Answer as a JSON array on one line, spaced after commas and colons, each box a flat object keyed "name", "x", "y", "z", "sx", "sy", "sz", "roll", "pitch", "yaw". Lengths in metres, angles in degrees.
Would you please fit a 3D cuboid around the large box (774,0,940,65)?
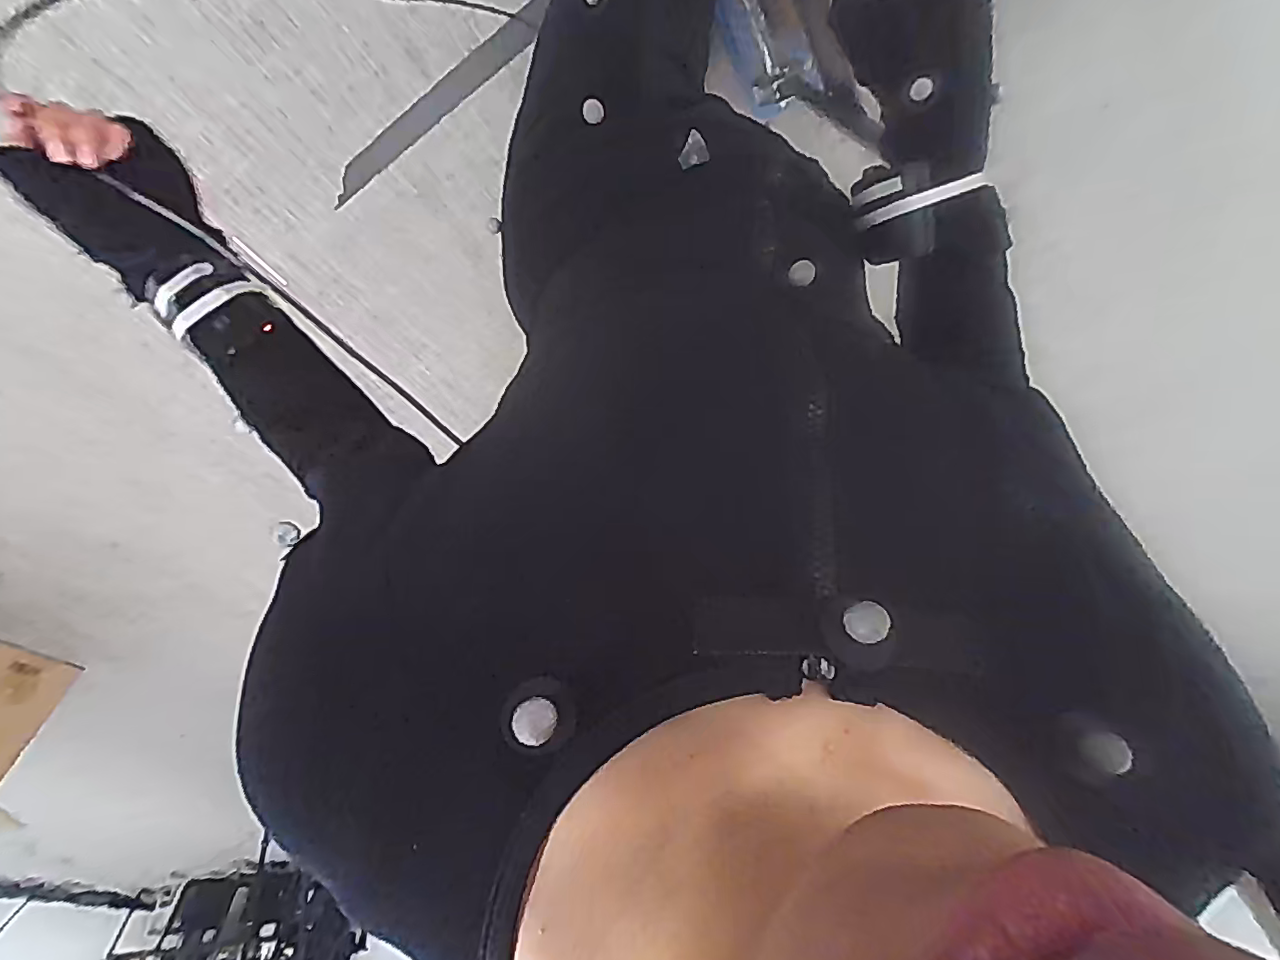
[{"name": "large box", "x": 0.271, "y": -0.804, "z": 0.613, "sx": 0.320, "sy": 0.320, "sz": 0.408, "roll": -22, "pitch": 133, "yaw": 21}]
